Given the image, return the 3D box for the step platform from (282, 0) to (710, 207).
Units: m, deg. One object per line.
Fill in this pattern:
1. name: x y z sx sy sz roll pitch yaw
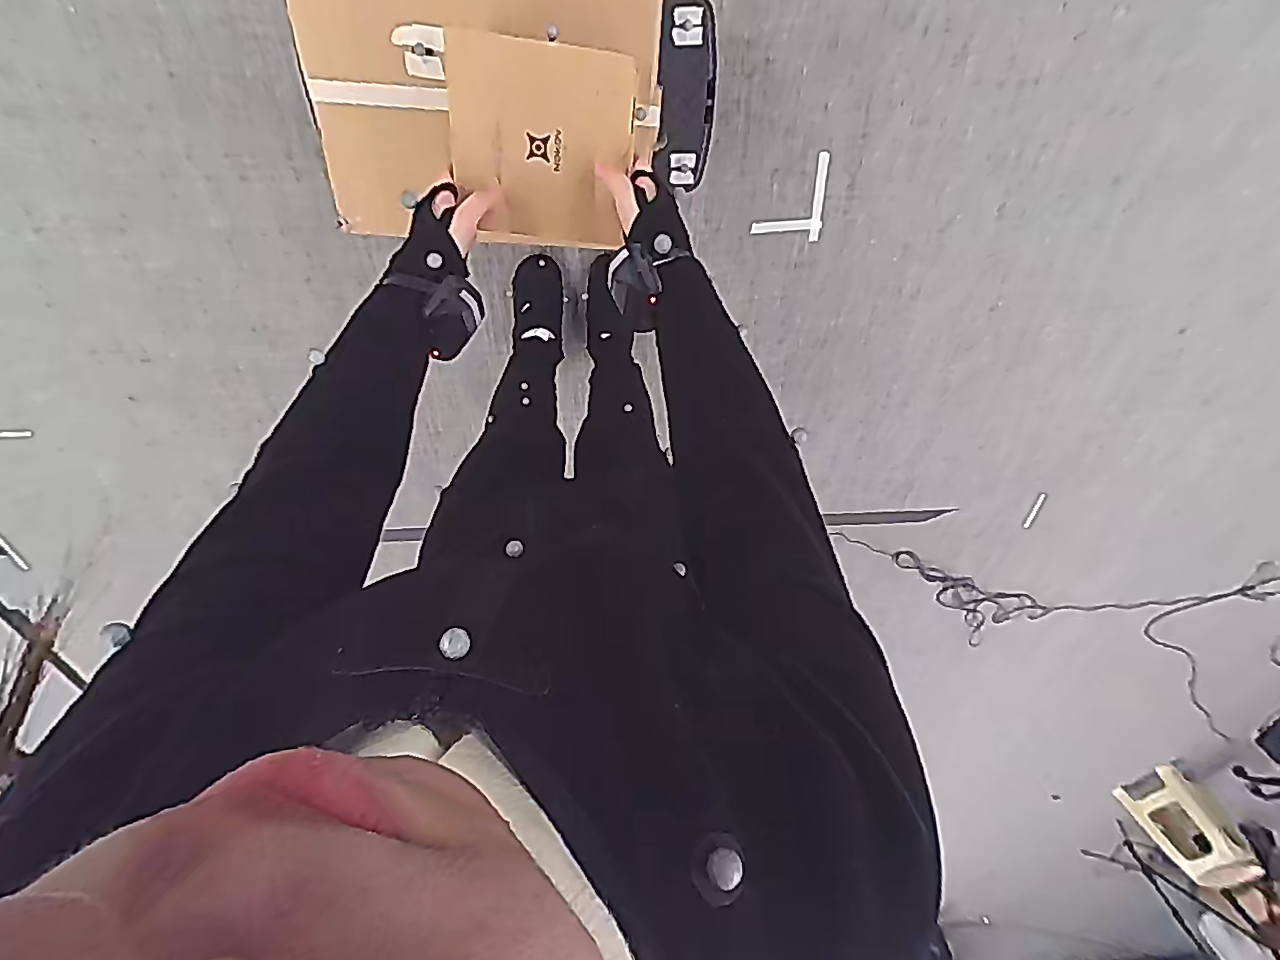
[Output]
1. step platform: -0.222 -0.672 0.948 0.684 0.204 0.286 3 126 -6

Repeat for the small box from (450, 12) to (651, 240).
1. small box: -0.091 -0.372 0.576 0.179 0.176 0.168 4 126 -7

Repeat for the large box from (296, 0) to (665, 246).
1. large box: -0.181 -0.535 0.755 0.408 0.320 0.320 2 125 -4
